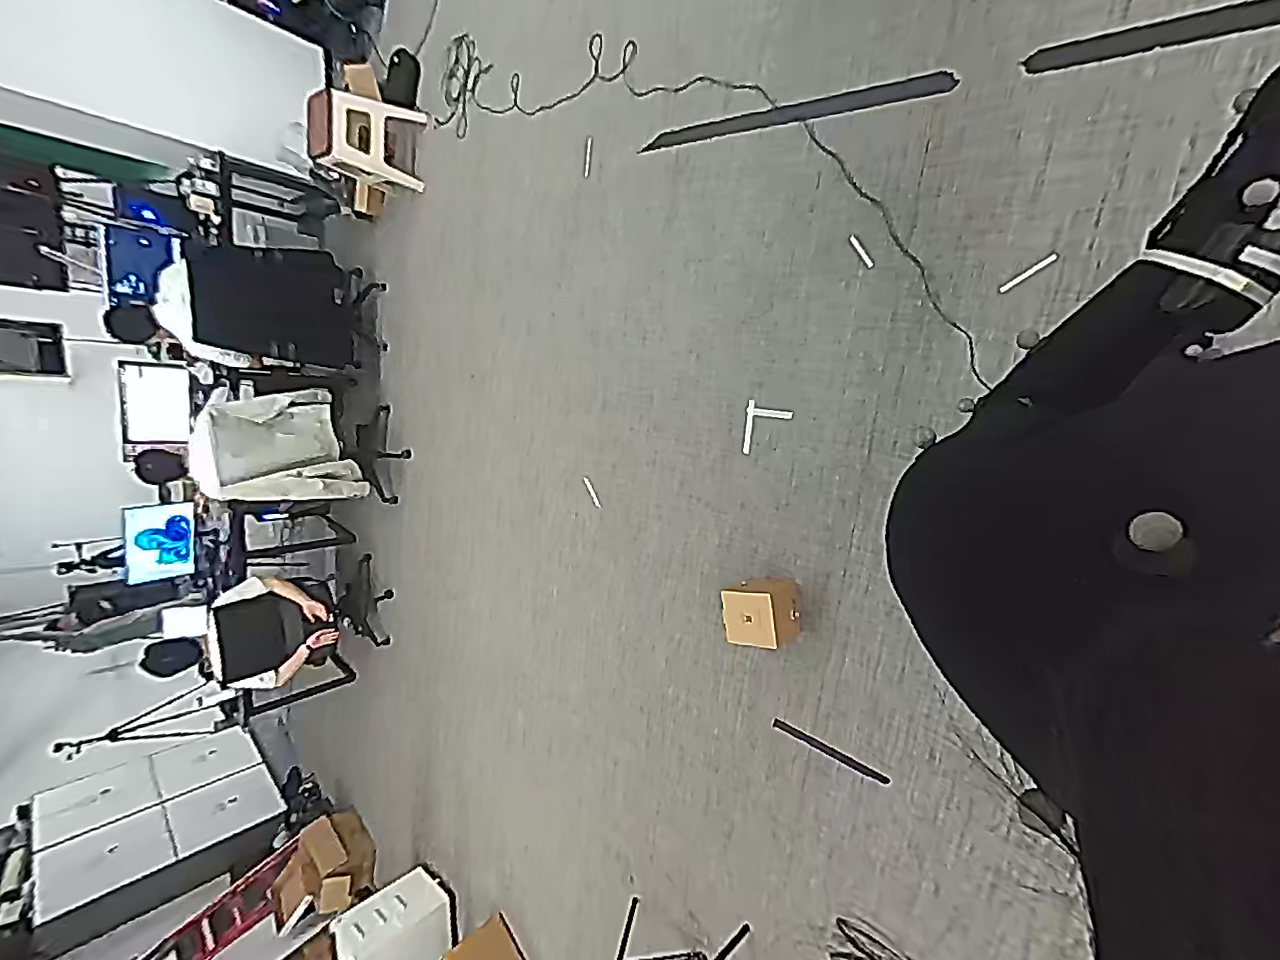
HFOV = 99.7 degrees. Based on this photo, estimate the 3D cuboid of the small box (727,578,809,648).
[{"bbox_3d":[0.394,0.402,1.661,0.179,0.176,0.168,-8,90,42],"label":"small box"}]
